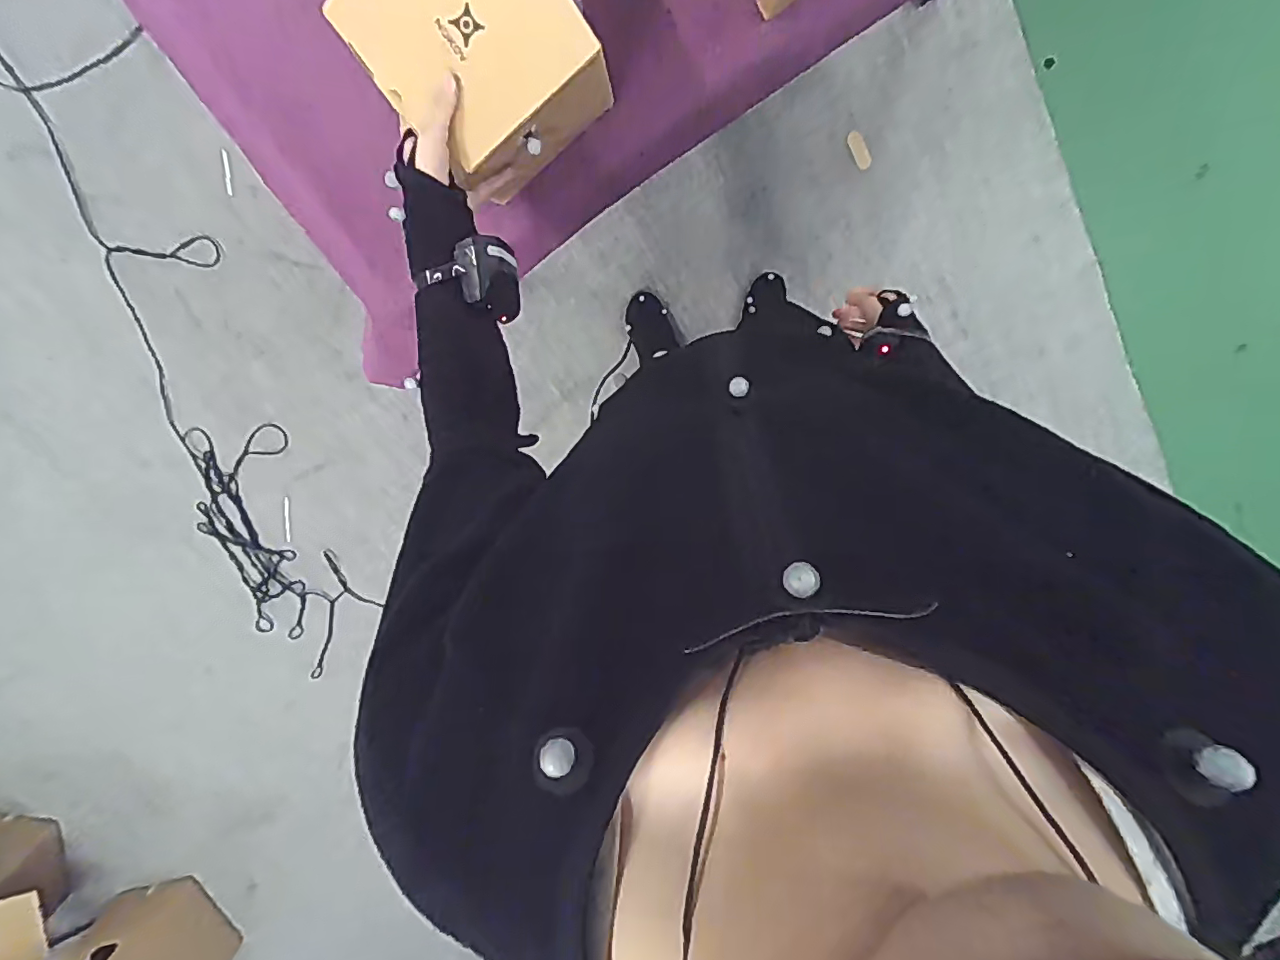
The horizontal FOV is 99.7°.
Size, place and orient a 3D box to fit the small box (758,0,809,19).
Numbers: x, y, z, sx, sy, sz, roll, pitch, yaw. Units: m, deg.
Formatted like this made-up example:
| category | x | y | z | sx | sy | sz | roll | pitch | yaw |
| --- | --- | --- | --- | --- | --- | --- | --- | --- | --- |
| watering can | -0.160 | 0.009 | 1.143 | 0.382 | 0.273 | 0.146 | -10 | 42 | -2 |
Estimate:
| category | x | y | z | sx | sy | sz | roll | pitch | yaw |
| --- | --- | --- | --- | --- | --- | --- | --- | --- | --- |
| small box | 0.172 | -0.580 | 0.486 | 0.179 | 0.176 | 0.168 | -31 | 107 | 9 |

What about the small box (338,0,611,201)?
| category | x | y | z | sx | sy | sz | roll | pitch | yaw |
| --- | --- | --- | --- | --- | --- | --- | --- | --- | --- |
| small box | -0.141 | -0.408 | 0.537 | 0.179 | 0.176 | 0.168 | -34 | 107 | 15 |
